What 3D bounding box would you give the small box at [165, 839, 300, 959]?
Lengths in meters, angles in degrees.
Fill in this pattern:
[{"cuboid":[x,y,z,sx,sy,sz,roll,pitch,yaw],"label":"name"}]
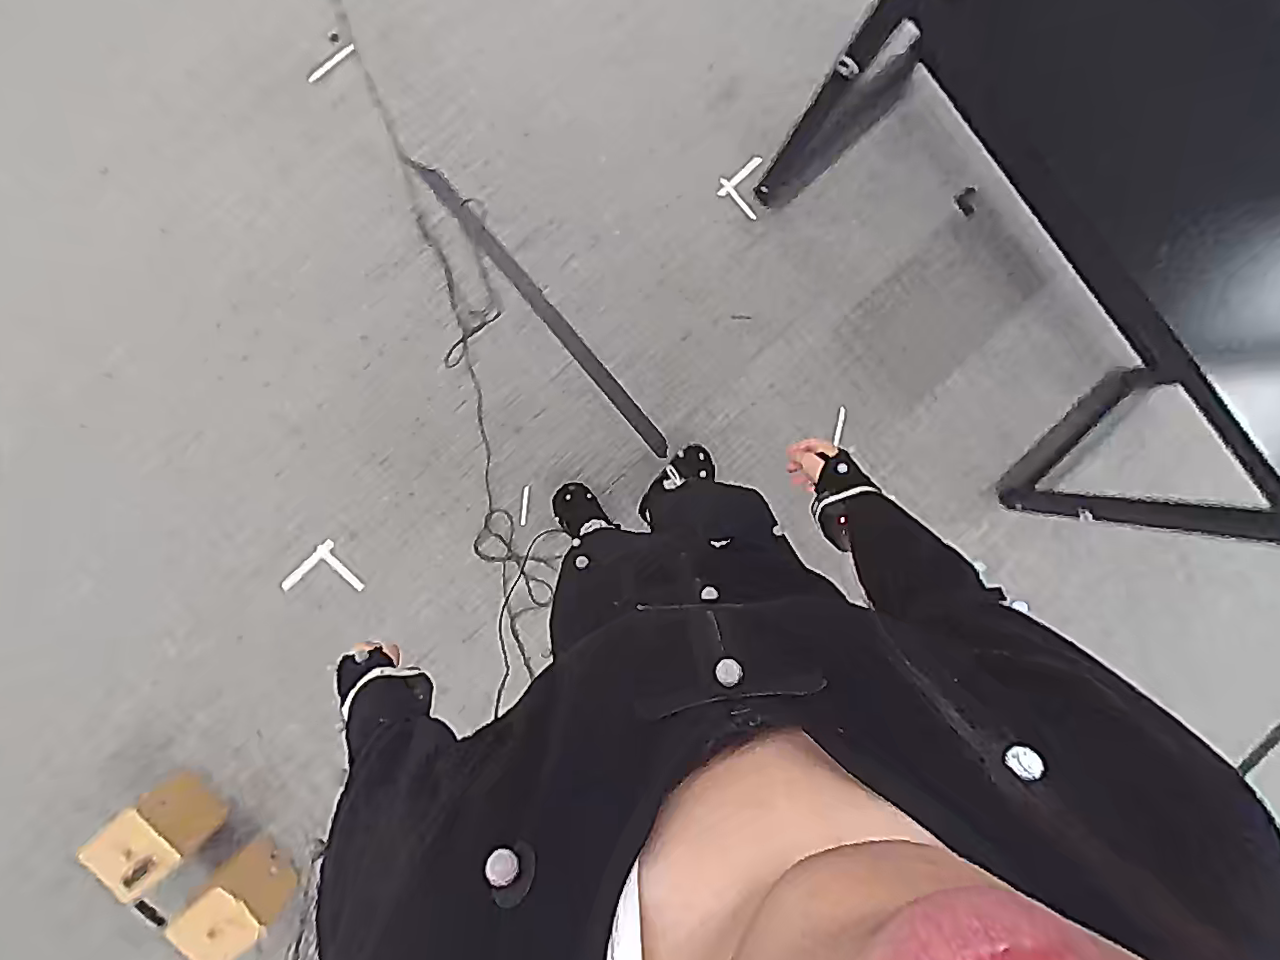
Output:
[{"cuboid":[-1.020,1.073,1.371,0.179,0.176,0.168,-40,97,-3],"label":"small box"}]
